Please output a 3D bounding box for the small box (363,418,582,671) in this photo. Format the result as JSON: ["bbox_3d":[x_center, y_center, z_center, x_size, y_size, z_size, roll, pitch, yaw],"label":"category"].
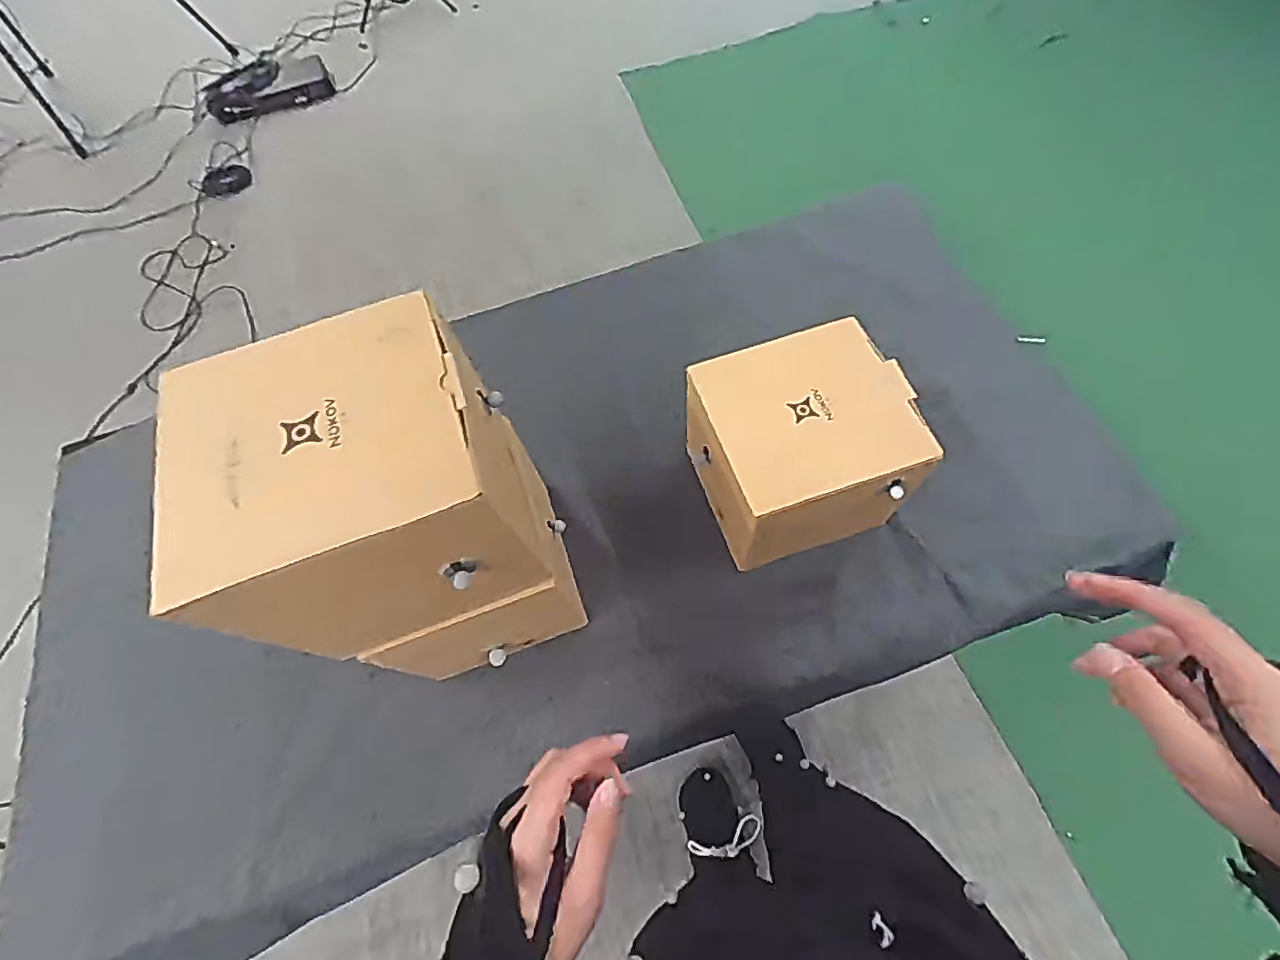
[{"bbox_3d":[-0.167,0.072,0.539,0.168,0.176,0.179,-20,66,-5],"label":"small box"}]

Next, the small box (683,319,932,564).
[{"bbox_3d":[0.153,-0.030,0.563,0.179,0.176,0.168,-18,64,-5],"label":"small box"}]

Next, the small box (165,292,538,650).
[{"bbox_3d":[-0.185,0.005,0.391,0.179,0.176,0.168,-21,64,-4],"label":"small box"}]
